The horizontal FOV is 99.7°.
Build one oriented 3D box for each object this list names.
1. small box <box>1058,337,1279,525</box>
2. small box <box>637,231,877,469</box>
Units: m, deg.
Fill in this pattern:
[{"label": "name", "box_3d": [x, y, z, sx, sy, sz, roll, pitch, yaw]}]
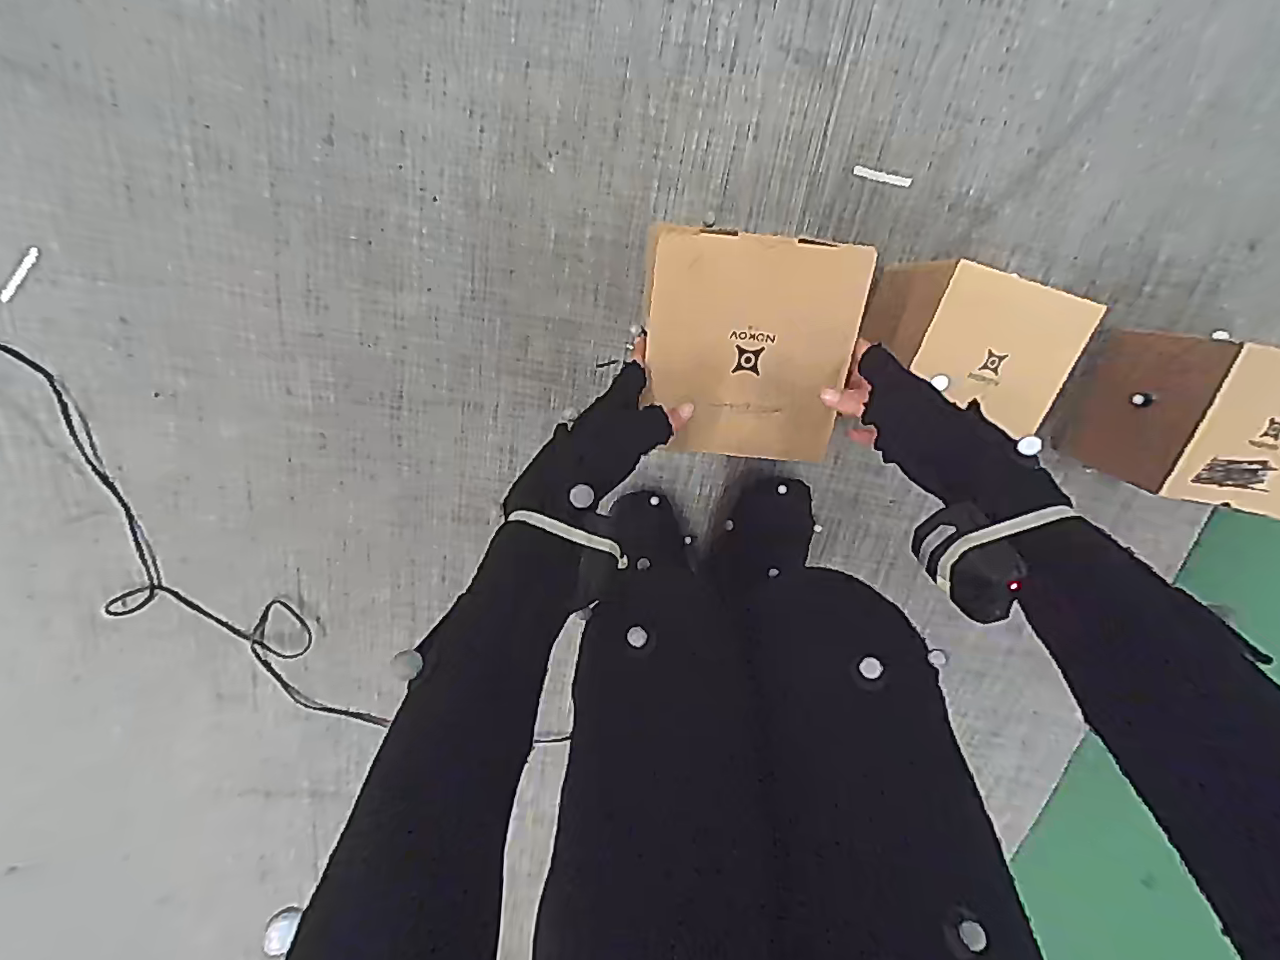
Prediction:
[{"label": "small box", "box_3d": [0.674, -0.069, 0.667, 0.168, 0.176, 0.179, 11, 109, -3]}, {"label": "small box", "box_3d": [0.086, -0.128, 0.500, 0.168, 0.176, 0.179, 5, 115, -2]}]
